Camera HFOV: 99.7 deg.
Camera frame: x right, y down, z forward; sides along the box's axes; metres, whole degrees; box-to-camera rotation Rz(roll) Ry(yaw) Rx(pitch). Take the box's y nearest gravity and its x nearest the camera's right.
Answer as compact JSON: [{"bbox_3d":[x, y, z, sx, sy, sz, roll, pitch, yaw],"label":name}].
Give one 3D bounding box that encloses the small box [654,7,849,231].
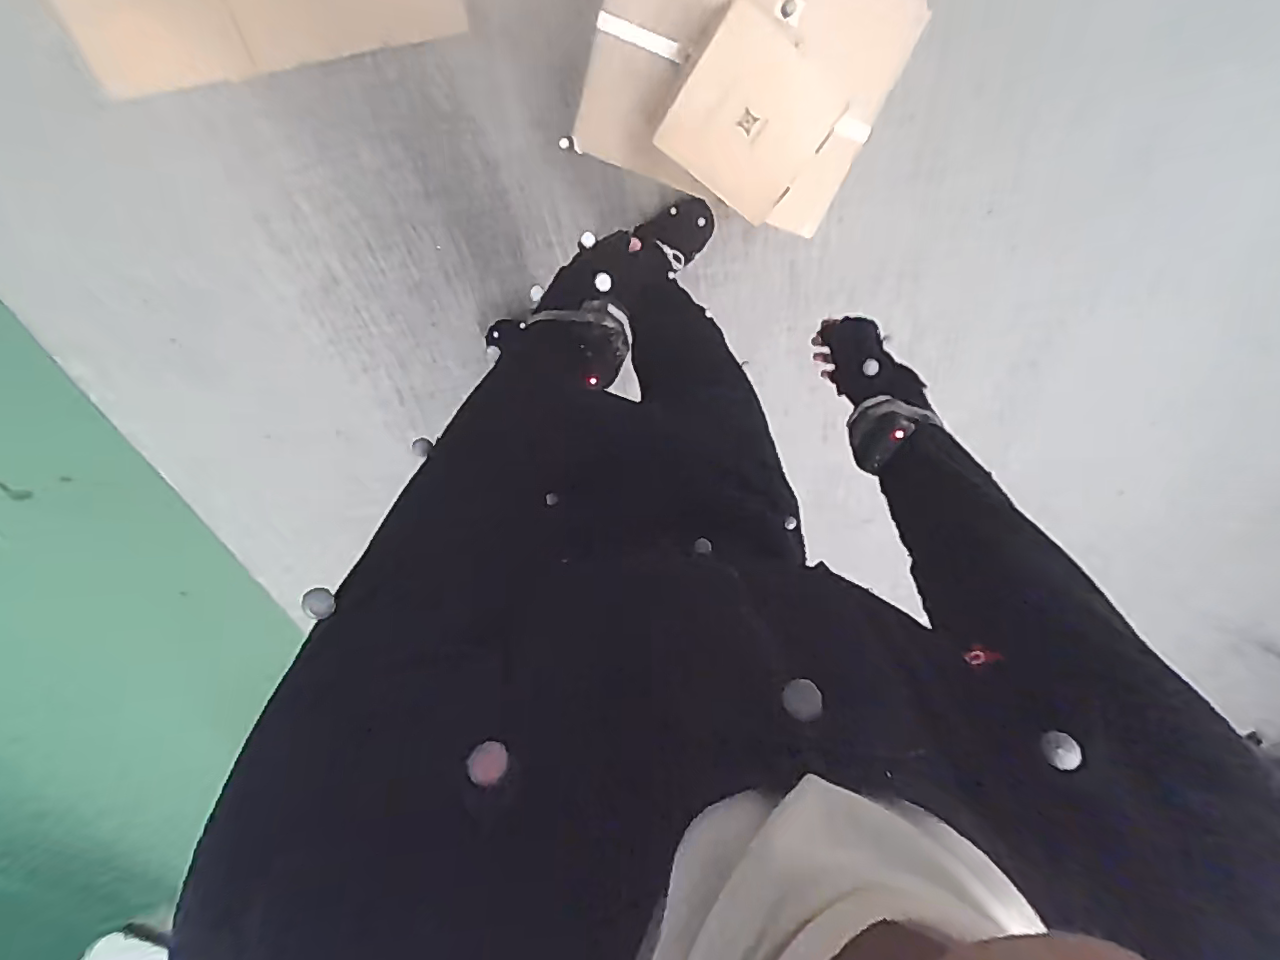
[{"bbox_3d":[0.134,-0.468,0.711,0.179,0.176,0.168,29,122,-19],"label":"small box"}]
